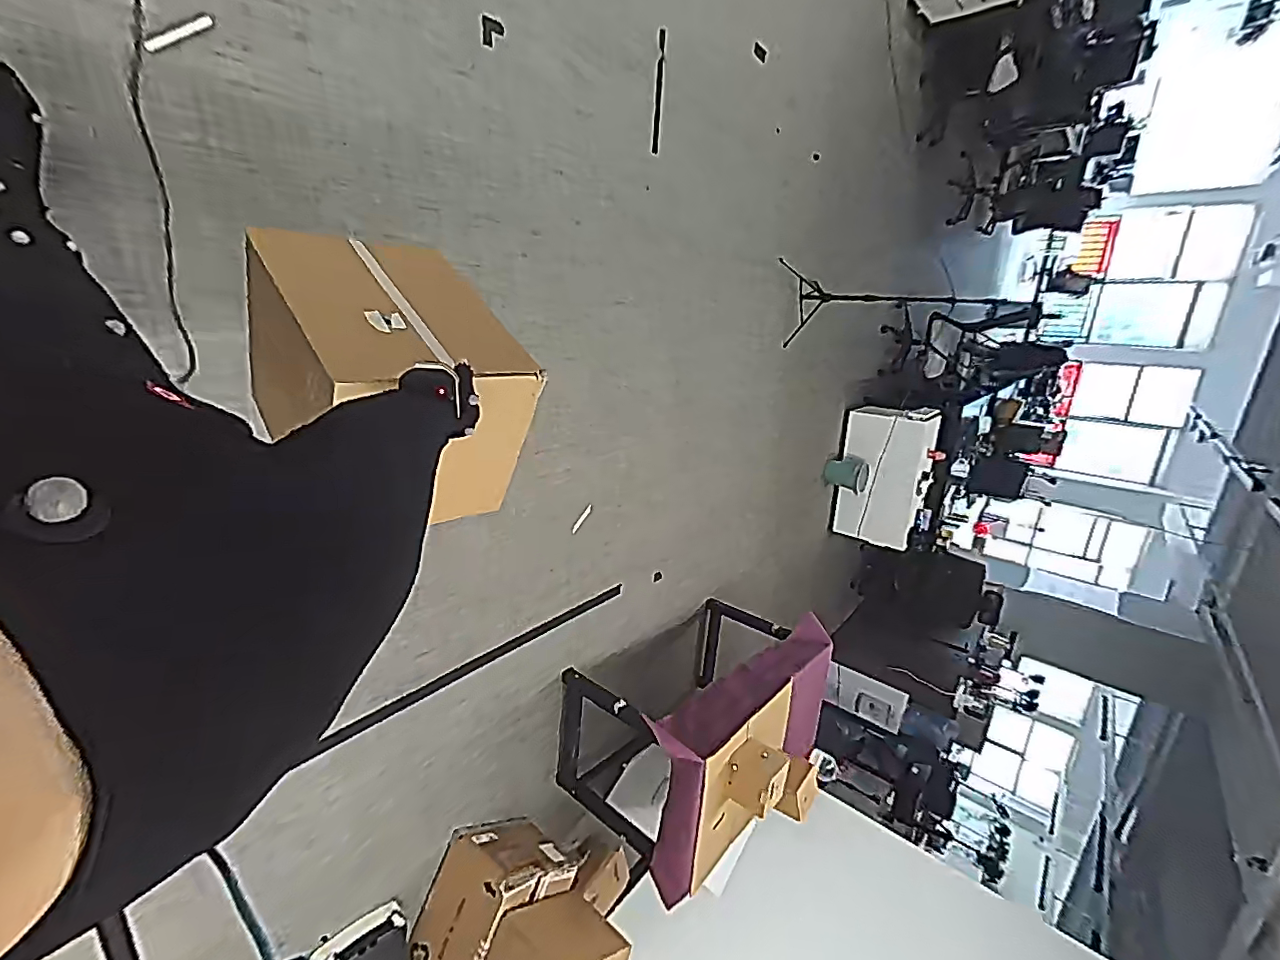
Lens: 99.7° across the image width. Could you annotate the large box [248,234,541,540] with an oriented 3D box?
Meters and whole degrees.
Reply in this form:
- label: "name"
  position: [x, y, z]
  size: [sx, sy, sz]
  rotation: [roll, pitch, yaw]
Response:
- label: "large box"
  position: [-0.445, -0.167, 0.945]
  size: [0.320, 0.408, 0.320]
  rotation: [-14, 143, -44]
